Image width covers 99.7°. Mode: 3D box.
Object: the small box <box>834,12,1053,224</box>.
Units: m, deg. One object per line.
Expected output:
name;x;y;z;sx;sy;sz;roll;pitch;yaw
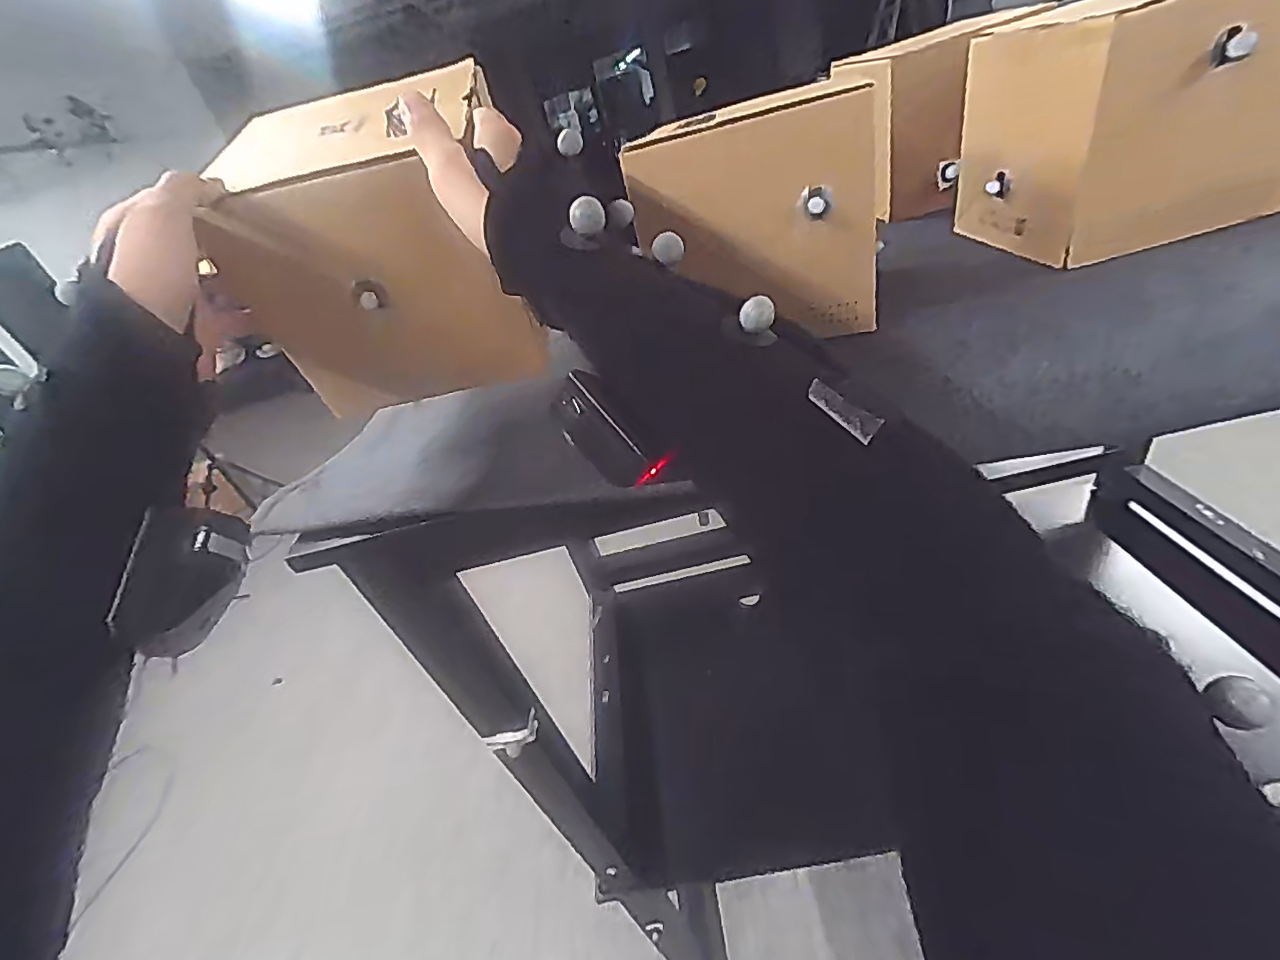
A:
small box;0.348;-0.429;0.659;0.168;0.176;0.179;-15;35;5

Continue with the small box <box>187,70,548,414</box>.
small box;-0.174;-0.177;0.418;0.179;0.176;0.168;-13;50;2

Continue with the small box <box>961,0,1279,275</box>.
small box;0.401;-0.294;0.452;0.179;0.176;0.168;-15;35;5
